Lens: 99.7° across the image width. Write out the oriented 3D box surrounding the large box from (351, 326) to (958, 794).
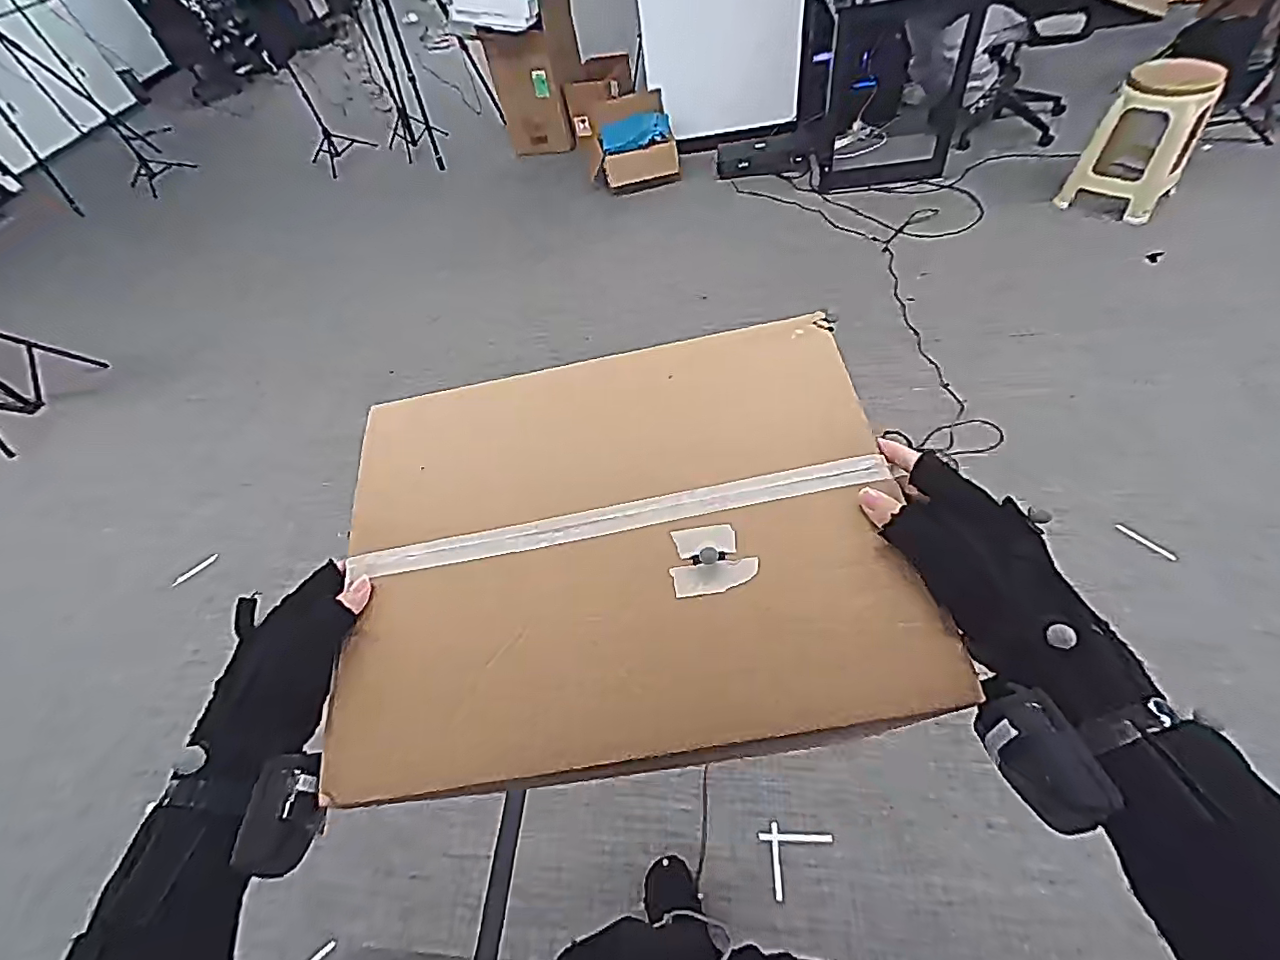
[{"bbox_3d":[0.002,0.103,0.543,0.408,0.320,0.320,-11,61,3],"label":"large box"}]
